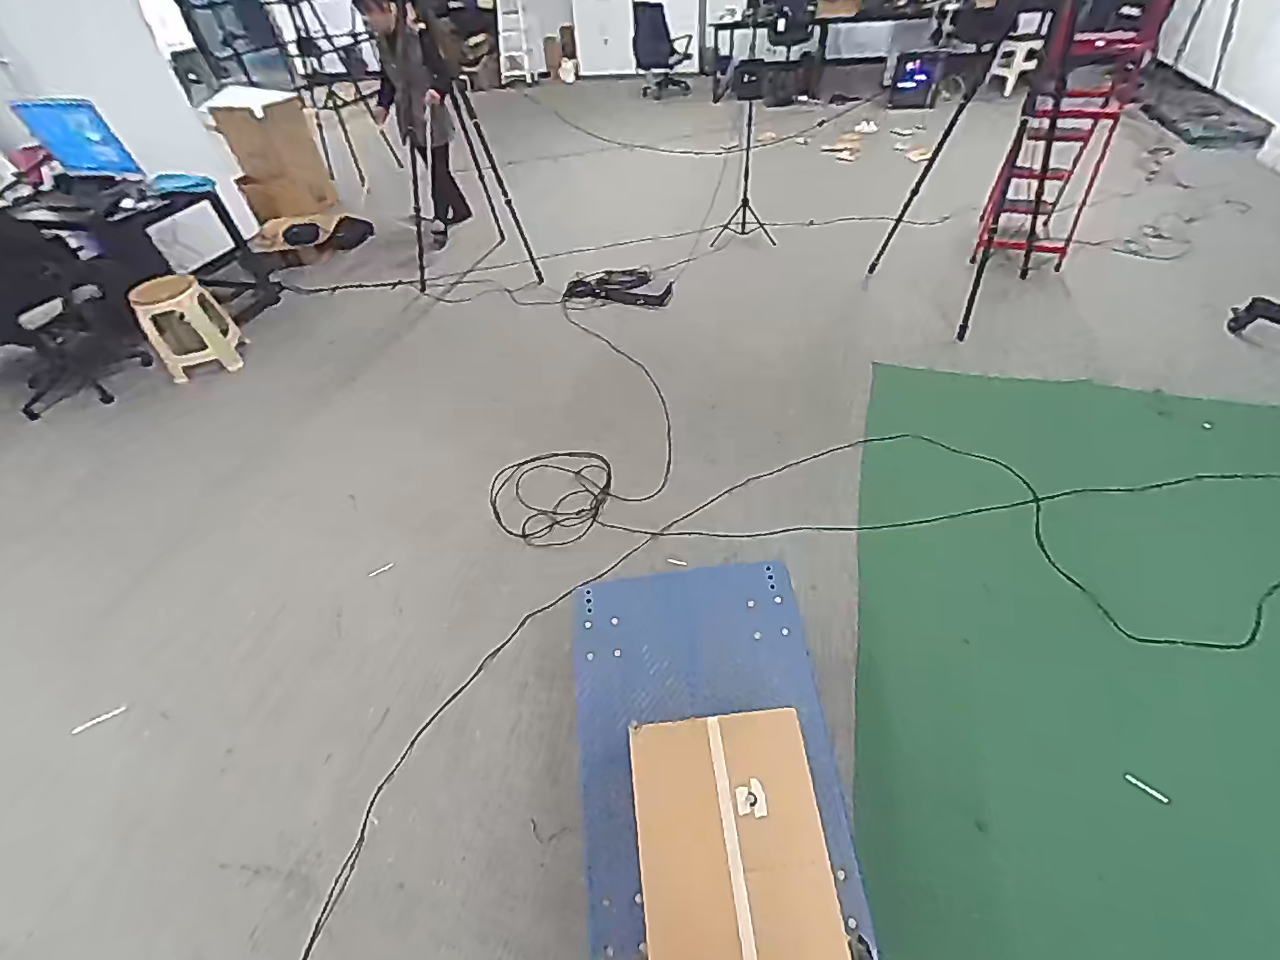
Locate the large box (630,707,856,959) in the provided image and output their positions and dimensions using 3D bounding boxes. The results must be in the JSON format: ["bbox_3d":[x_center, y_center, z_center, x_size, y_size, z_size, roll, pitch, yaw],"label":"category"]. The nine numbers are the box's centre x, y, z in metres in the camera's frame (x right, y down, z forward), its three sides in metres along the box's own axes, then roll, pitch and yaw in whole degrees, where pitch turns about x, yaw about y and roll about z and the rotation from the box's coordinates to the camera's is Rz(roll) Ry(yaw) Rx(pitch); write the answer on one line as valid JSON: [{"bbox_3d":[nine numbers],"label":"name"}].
[{"bbox_3d":[0.172,0.686,1.038,0.320,0.320,0.408,-8,61,1],"label":"large box"}]
